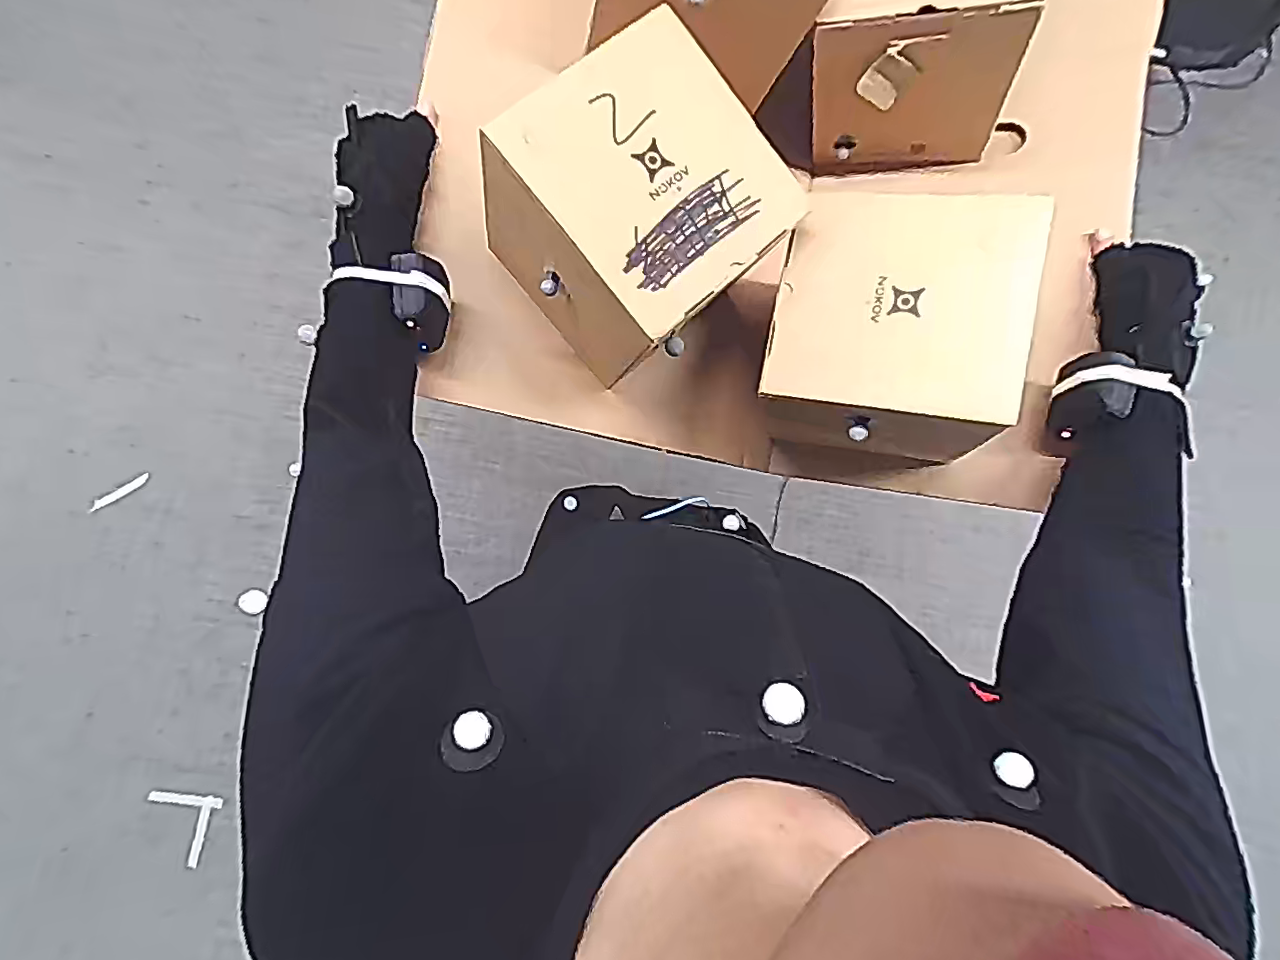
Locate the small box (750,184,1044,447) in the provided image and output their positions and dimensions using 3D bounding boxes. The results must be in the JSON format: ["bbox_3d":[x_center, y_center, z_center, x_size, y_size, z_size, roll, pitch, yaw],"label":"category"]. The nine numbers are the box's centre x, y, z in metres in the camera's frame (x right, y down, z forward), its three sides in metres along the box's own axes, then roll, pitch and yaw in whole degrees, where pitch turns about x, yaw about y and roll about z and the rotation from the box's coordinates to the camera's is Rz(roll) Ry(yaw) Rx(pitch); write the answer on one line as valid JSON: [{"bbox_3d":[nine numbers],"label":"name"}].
[{"bbox_3d":[0.208,-0.130,0.475,0.179,0.176,0.168,11,87,19],"label":"small box"}]
